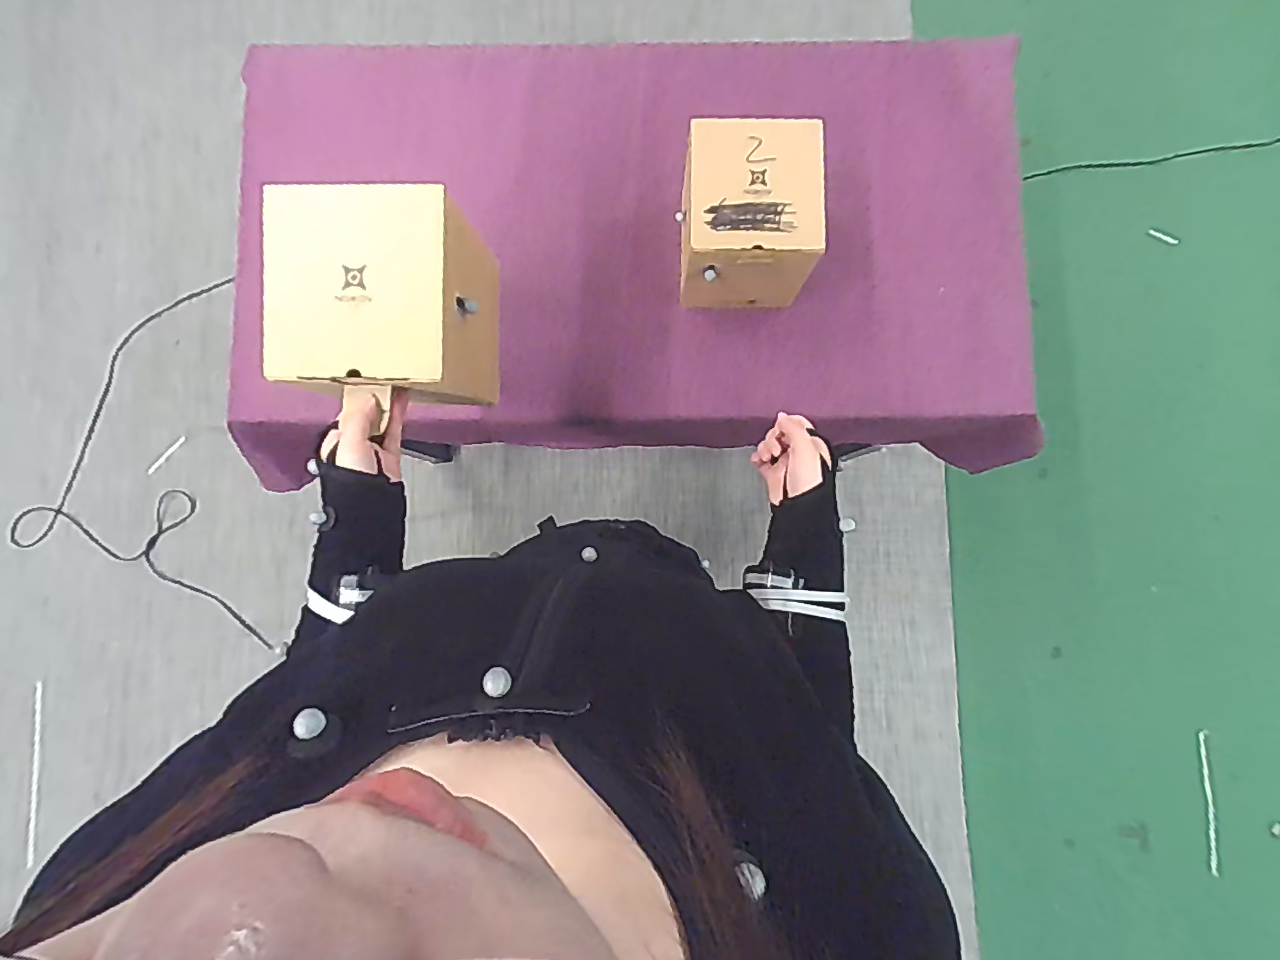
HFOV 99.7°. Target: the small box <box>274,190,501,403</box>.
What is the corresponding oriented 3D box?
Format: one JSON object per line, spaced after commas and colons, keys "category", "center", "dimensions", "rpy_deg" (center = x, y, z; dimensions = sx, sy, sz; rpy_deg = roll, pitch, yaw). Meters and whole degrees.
{"category": "small box", "center": [-0.253, -0.181, 0.578], "dimensions": [0.168, 0.176, 0.179], "rpy_deg": [1, 92, 2]}
